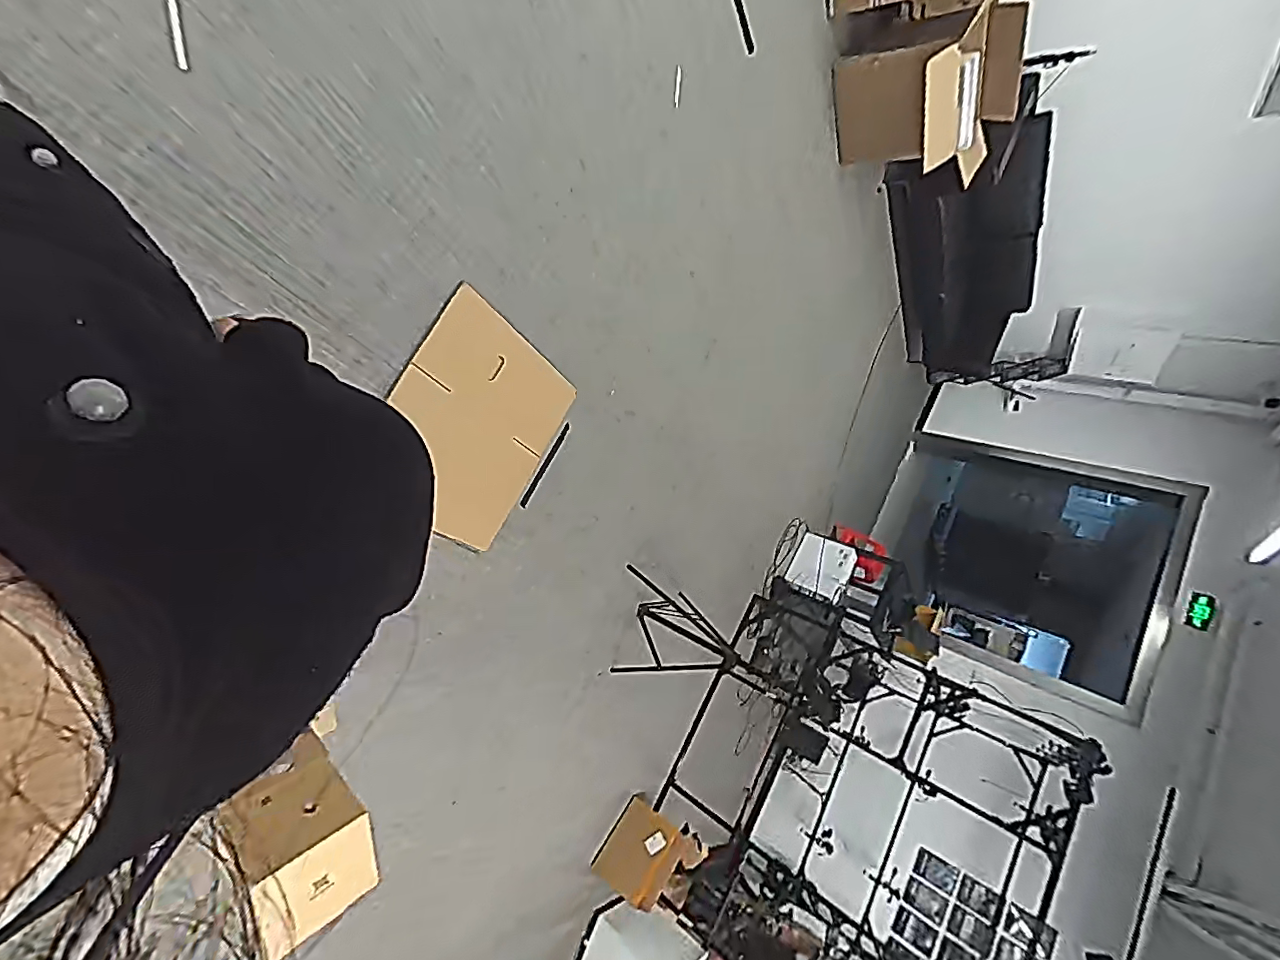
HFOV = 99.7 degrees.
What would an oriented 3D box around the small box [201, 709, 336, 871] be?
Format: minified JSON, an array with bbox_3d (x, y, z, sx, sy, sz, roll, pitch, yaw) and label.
[{"bbox_3d":[-0.675,0.567,0.999,0.168,0.176,0.179,-19,120,-46],"label":"small box"}]

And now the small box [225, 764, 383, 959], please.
[{"bbox_3d":[-0.555,0.609,0.897,0.168,0.176,0.179,-19,120,-46],"label":"small box"}]
